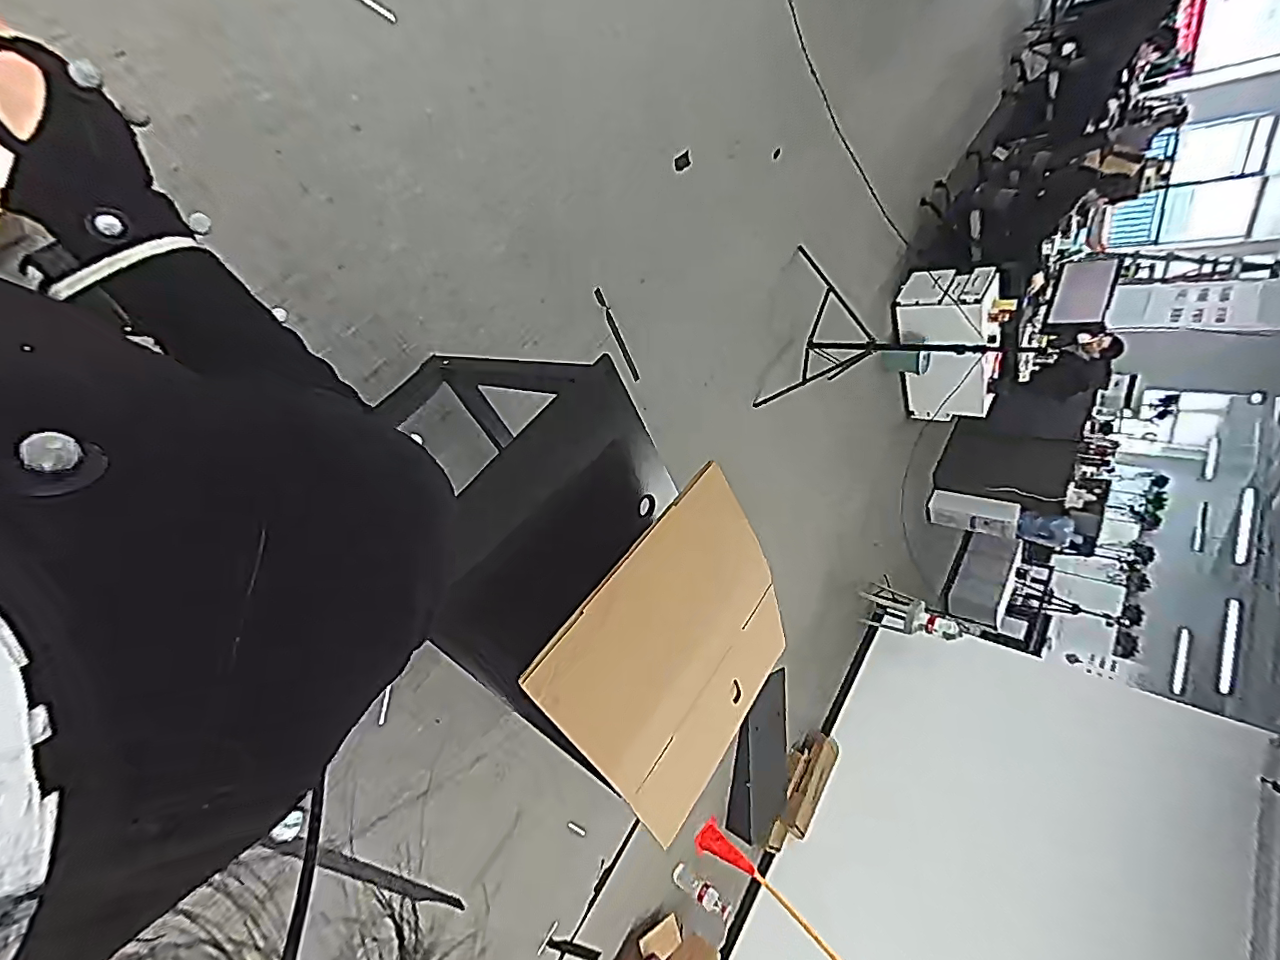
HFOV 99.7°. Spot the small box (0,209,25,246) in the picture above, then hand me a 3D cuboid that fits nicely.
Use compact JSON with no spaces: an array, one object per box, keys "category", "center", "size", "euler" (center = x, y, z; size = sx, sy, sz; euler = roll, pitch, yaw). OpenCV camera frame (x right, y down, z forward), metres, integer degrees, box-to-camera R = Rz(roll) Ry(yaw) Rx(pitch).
[{"category":"small box","center":[-1.131,-0.426,0.838],"size":[0.179,0.176,0.168],"euler":[-54,134,-22]}]

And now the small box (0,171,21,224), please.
[{"category":"small box","center":[-1.010,-0.404,0.733],"size":[0.179,0.176,0.168],"euler":[-58,137,-21]}]
